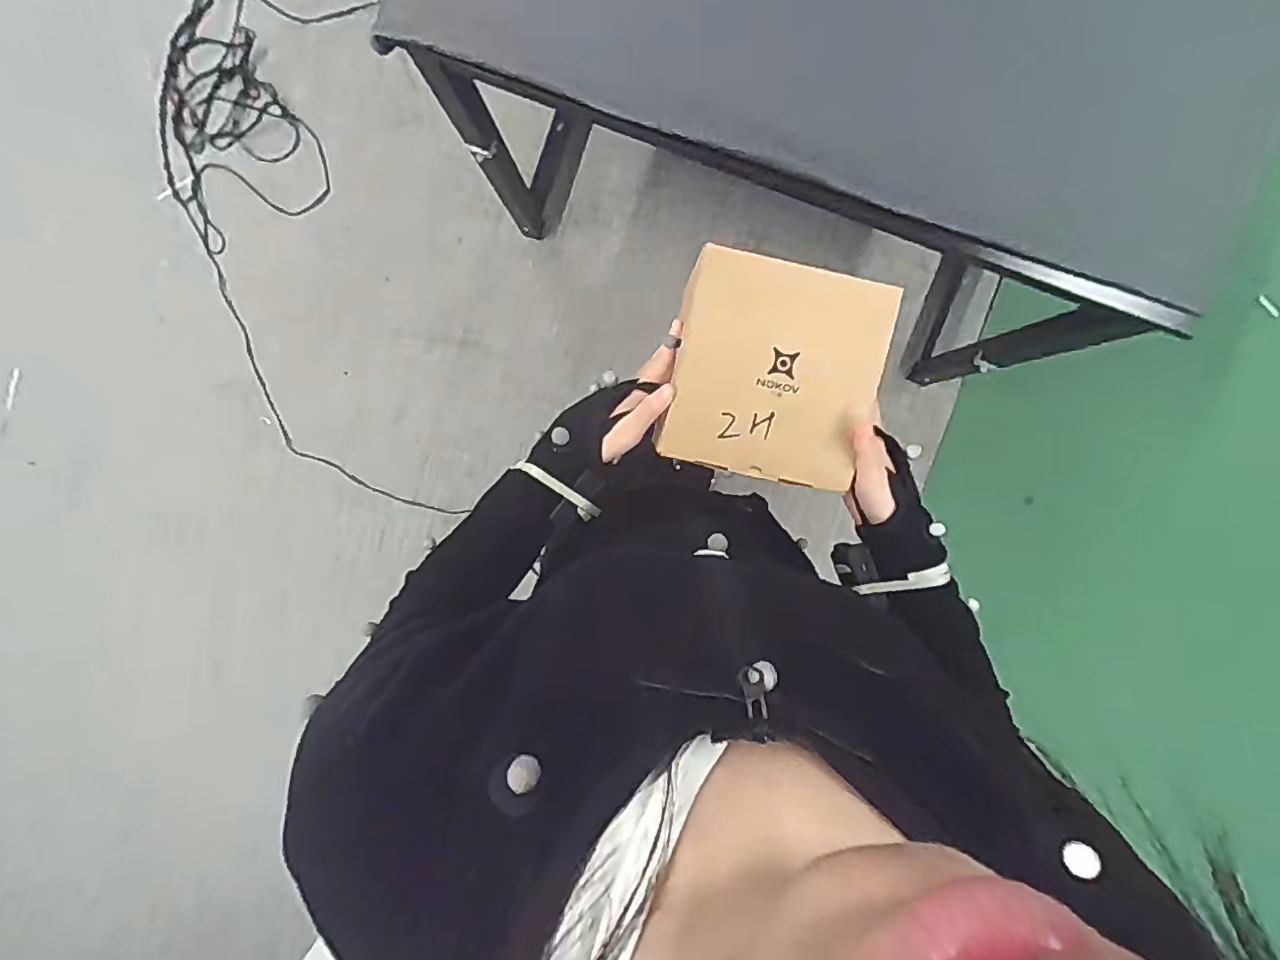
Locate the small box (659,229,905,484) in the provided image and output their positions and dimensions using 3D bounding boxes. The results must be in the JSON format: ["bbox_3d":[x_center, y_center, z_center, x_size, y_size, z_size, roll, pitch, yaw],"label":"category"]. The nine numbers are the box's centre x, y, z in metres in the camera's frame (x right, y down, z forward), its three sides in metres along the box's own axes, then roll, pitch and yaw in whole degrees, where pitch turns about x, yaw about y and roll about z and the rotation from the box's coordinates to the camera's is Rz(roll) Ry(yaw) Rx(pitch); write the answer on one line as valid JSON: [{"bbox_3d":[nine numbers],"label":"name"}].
[{"bbox_3d":[0.114,-0.107,0.514,0.168,0.176,0.179,12,98,-2],"label":"small box"}]
